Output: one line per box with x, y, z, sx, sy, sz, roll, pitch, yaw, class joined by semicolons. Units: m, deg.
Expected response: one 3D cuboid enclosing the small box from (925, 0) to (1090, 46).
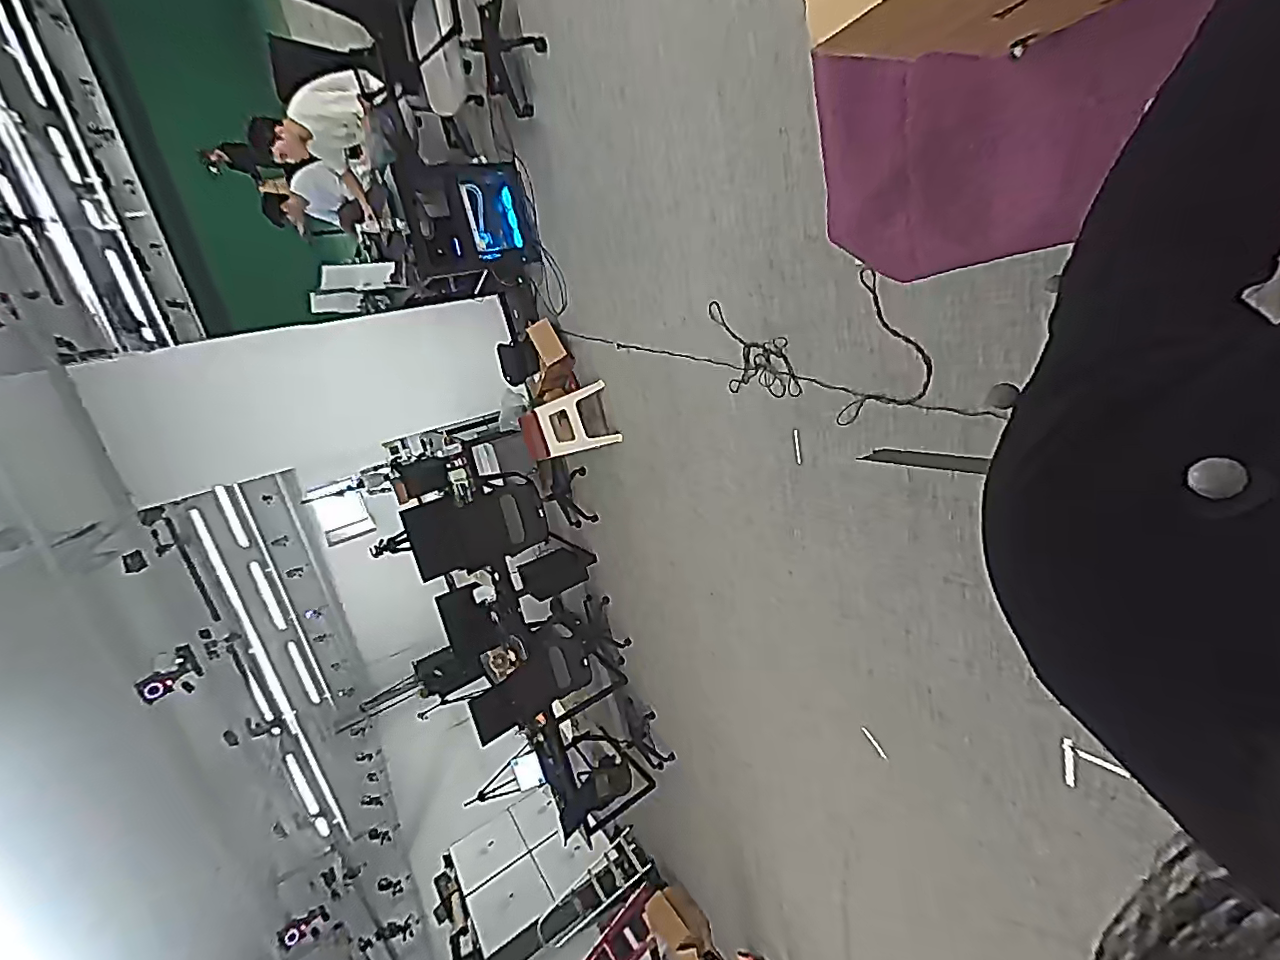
0.374;-0.538;0.493;0.168;0.176;0.179;13;120;57;small box

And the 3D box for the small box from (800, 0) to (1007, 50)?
0.240;-0.474;0.421;0.179;0.176;0.168;12;120;57;small box
